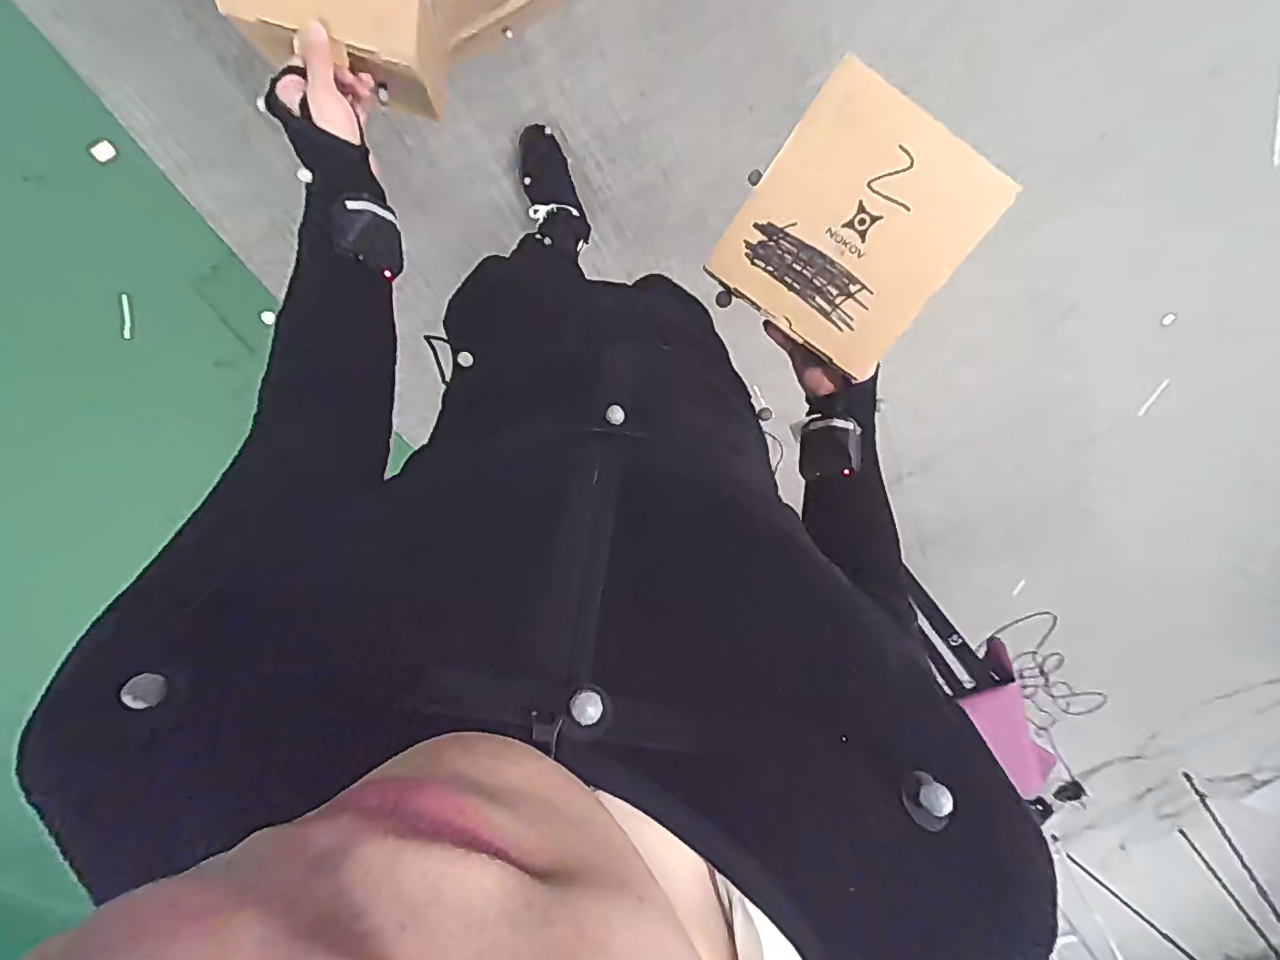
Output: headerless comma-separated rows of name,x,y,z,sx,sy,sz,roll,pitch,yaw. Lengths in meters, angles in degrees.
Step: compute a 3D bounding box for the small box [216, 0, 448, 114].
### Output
small box,-0.292,-0.508,0.544,0.168,0.176,0.179,7,104,-14
